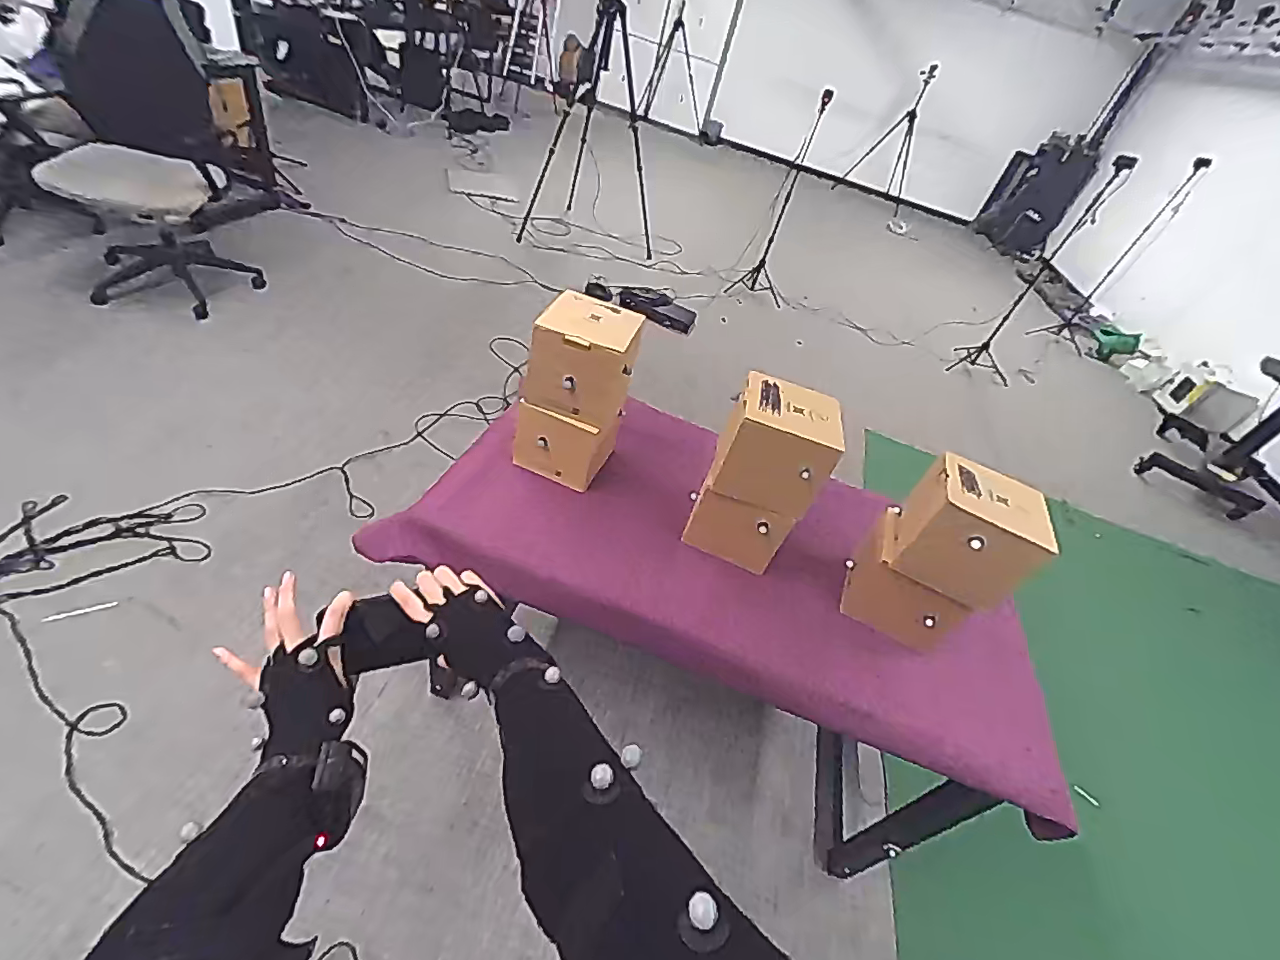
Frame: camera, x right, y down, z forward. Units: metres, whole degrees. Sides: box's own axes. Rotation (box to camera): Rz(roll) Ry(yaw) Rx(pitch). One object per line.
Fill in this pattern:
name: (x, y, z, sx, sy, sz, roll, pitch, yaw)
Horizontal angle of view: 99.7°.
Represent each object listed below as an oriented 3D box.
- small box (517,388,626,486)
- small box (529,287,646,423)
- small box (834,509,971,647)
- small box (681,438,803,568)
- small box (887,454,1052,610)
small box: (-0.147, -0.116, 1.142, 0.168, 0.176, 0.179, 24, 41, 6)
small box: (-0.105, -0.237, 1.040, 0.168, 0.176, 0.179, 21, 42, 1)
small box: (0.508, 0.195, 1.048, 0.179, 0.176, 0.168, 28, 42, 10)
small box: (0.203, 0.051, 1.089, 0.179, 0.176, 0.168, 23, 41, 5)
small box: (0.551, 0.091, 0.929, 0.179, 0.176, 0.168, 28, 42, 9)
